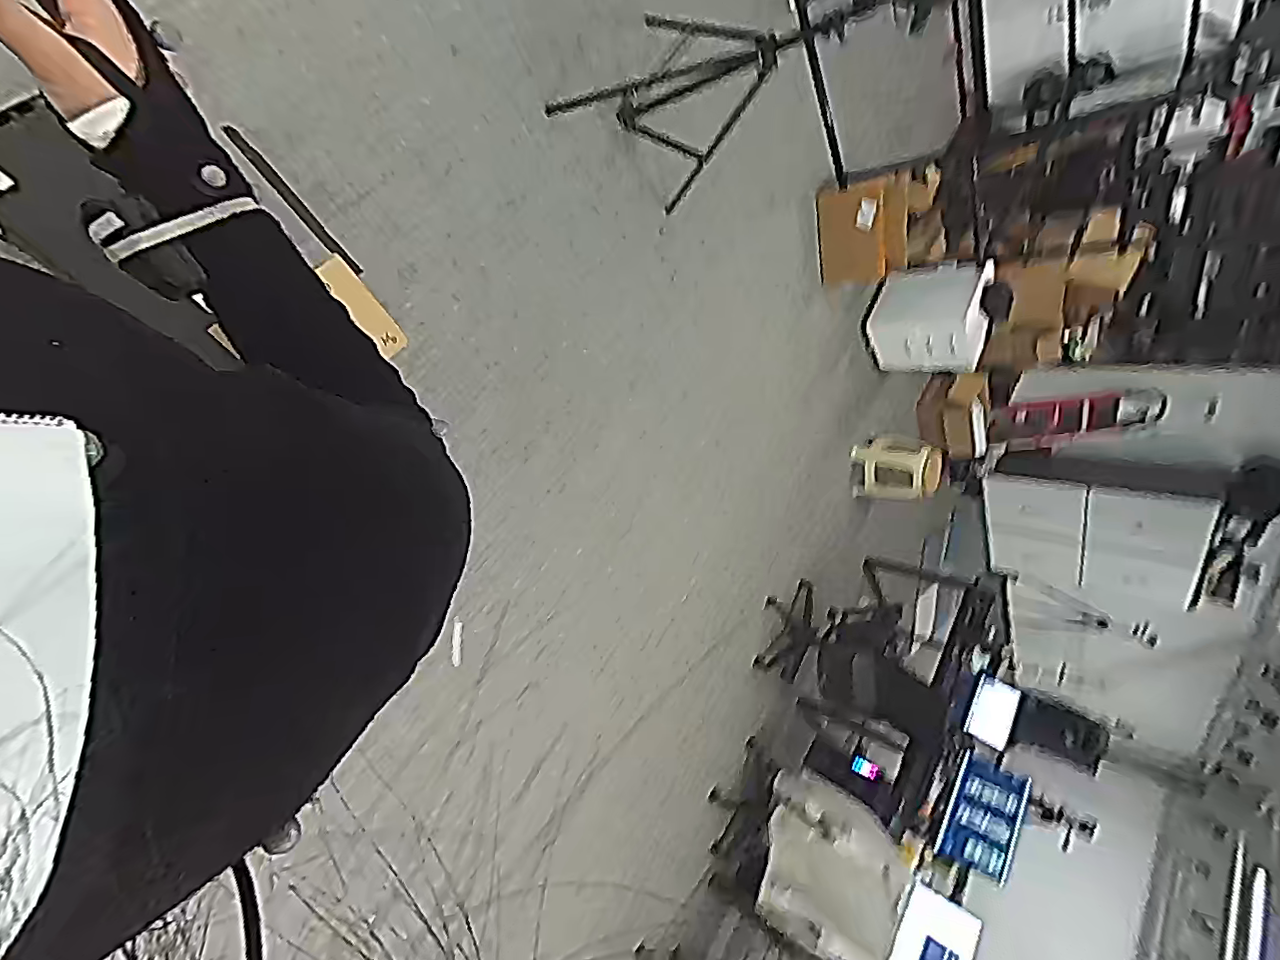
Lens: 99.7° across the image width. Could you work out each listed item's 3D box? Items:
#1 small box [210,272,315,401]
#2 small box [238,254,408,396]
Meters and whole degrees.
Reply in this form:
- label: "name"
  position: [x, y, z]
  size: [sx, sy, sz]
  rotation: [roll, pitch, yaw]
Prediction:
- label: "small box"
  position: [-0.682, -0.274, 1.049]
  size: [0.168, 0.176, 0.179]
  rotation: [-54, 130, -25]
- label: "small box"
  position: [-0.555, -0.262, 0.945]
  size: [0.168, 0.176, 0.179]
  rotation: [-52, 130, -26]
